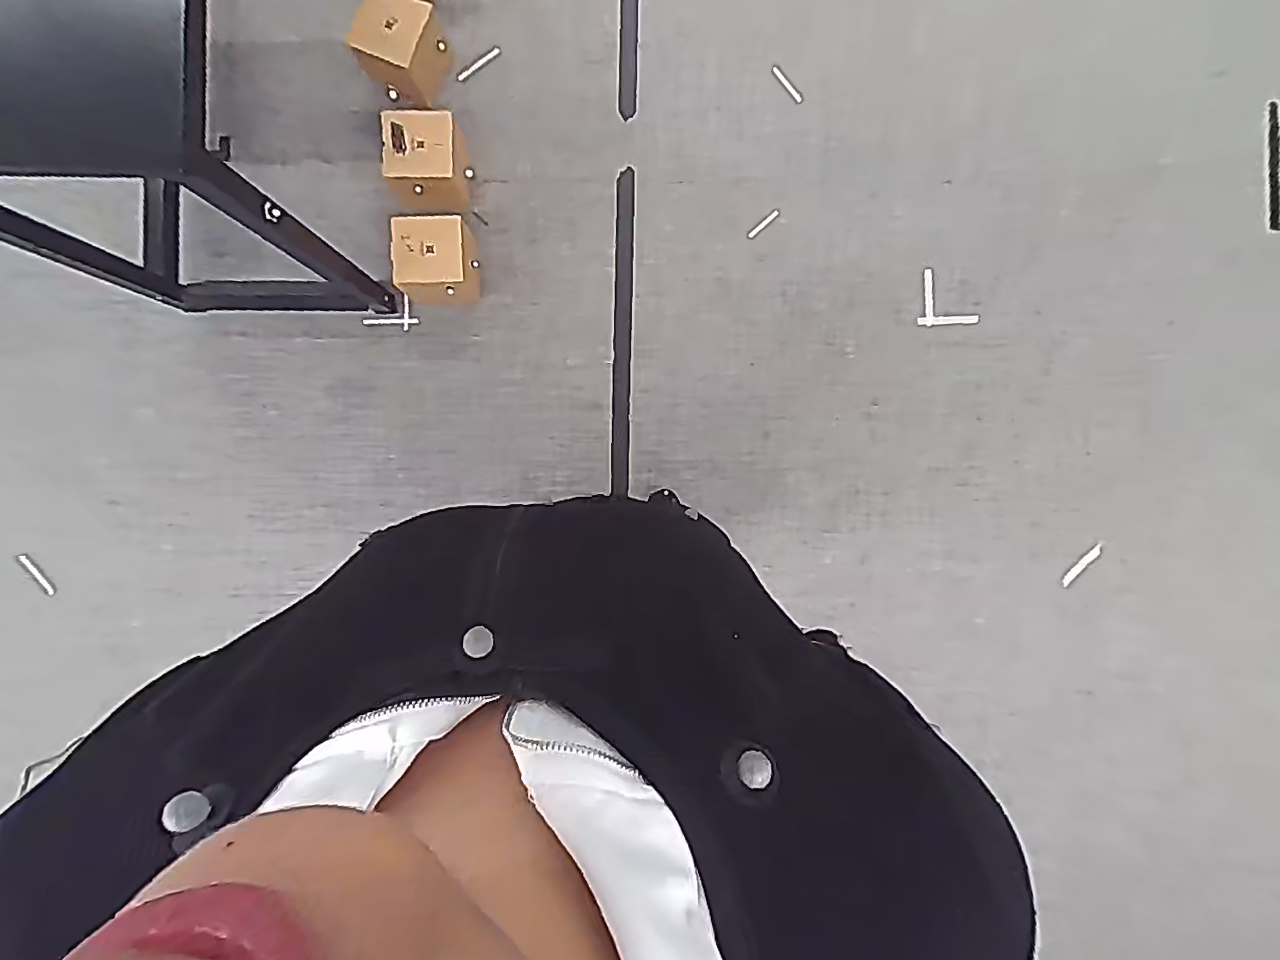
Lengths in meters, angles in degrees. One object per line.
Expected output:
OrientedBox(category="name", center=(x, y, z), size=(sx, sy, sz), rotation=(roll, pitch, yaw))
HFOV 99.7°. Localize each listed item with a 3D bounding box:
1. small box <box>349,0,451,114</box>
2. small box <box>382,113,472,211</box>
OrientedBox(category="small box", center=(-0.617, -1.121, 1.419), size=(0.168, 0.176, 0.179), rotation=(21, 91, 0))
OrientedBox(category="small box", center=(-0.554, -0.826, 1.419), size=(0.179, 0.176, 0.168), rotation=(0, 90, -2))
